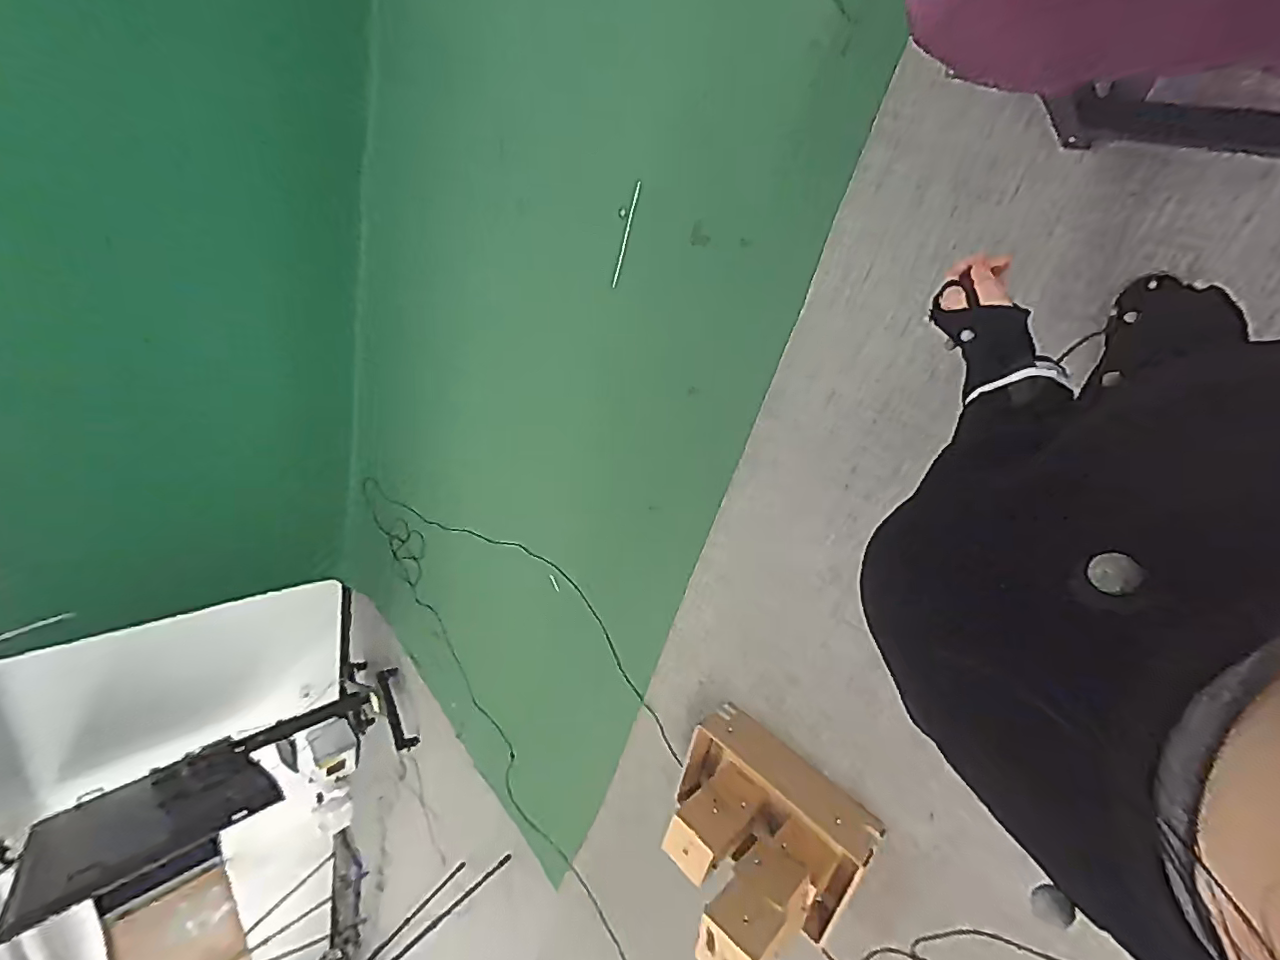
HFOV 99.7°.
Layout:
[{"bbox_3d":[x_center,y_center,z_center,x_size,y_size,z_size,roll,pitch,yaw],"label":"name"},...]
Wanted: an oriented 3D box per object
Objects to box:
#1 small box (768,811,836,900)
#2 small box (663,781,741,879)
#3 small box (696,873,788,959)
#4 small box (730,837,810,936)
[{"bbox_3d":[0.503,1.222,1.745,0.179,0.176,0.168,31,117,37],"label":"small box"},{"bbox_3d":[0.207,1.146,1.782,0.168,0.176,0.179,31,118,34],"label":"small box"},{"bbox_3d":[0.283,1.247,1.505,0.179,0.176,0.168,20,110,40],"label":"small box"},{"bbox_3d":[0.389,1.225,1.629,0.179,0.176,0.168,11,104,43],"label":"small box"}]
